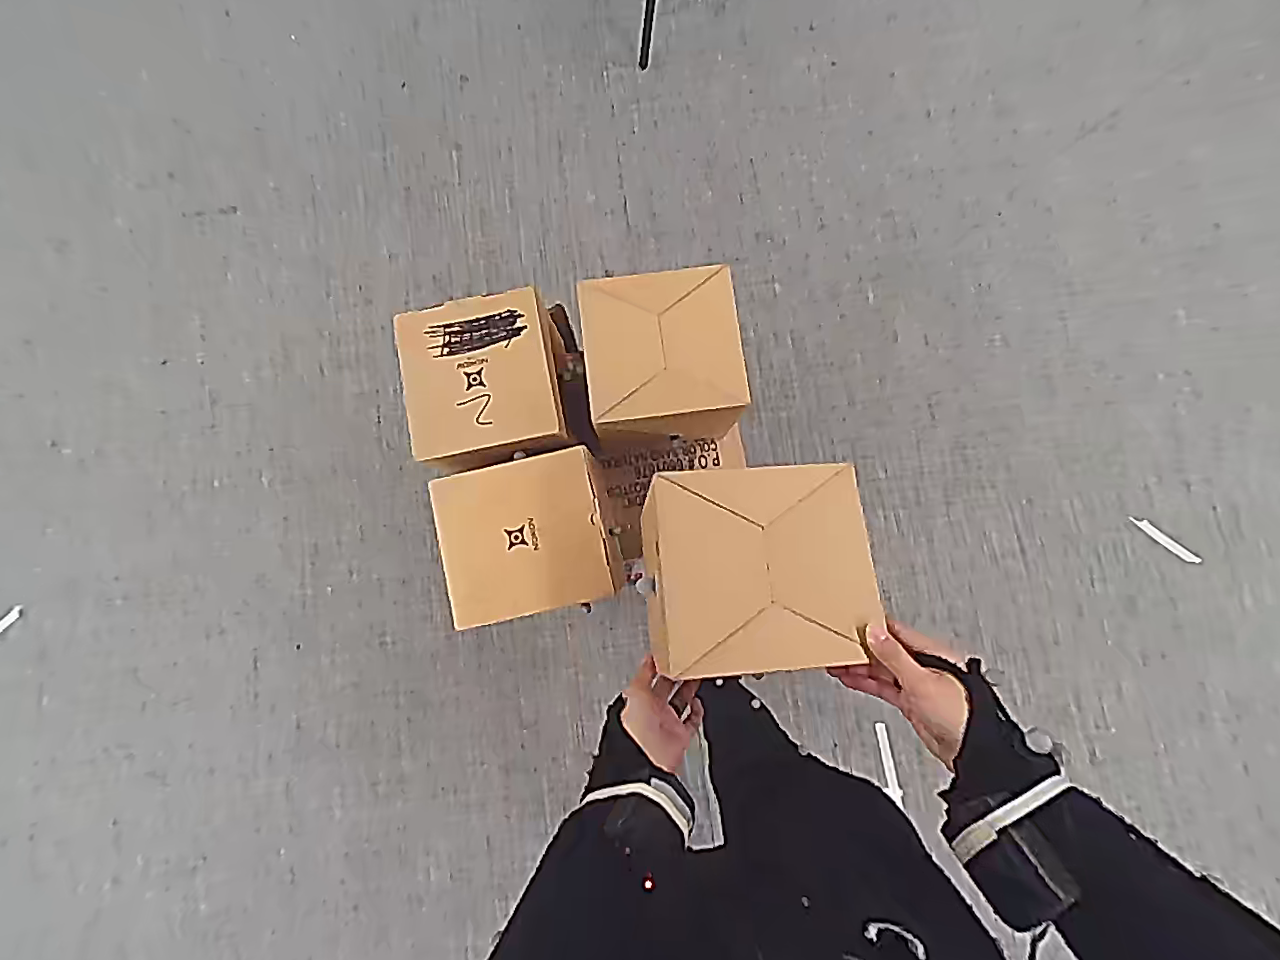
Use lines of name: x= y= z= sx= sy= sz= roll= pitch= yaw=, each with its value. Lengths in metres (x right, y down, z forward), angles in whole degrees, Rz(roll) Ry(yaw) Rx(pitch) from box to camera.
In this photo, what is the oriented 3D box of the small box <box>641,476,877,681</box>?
small box: x=0.099 y=0.100 z=0.525 sx=0.179 sy=0.176 sz=0.168 roll=-3 pitch=72 yaw=-6
